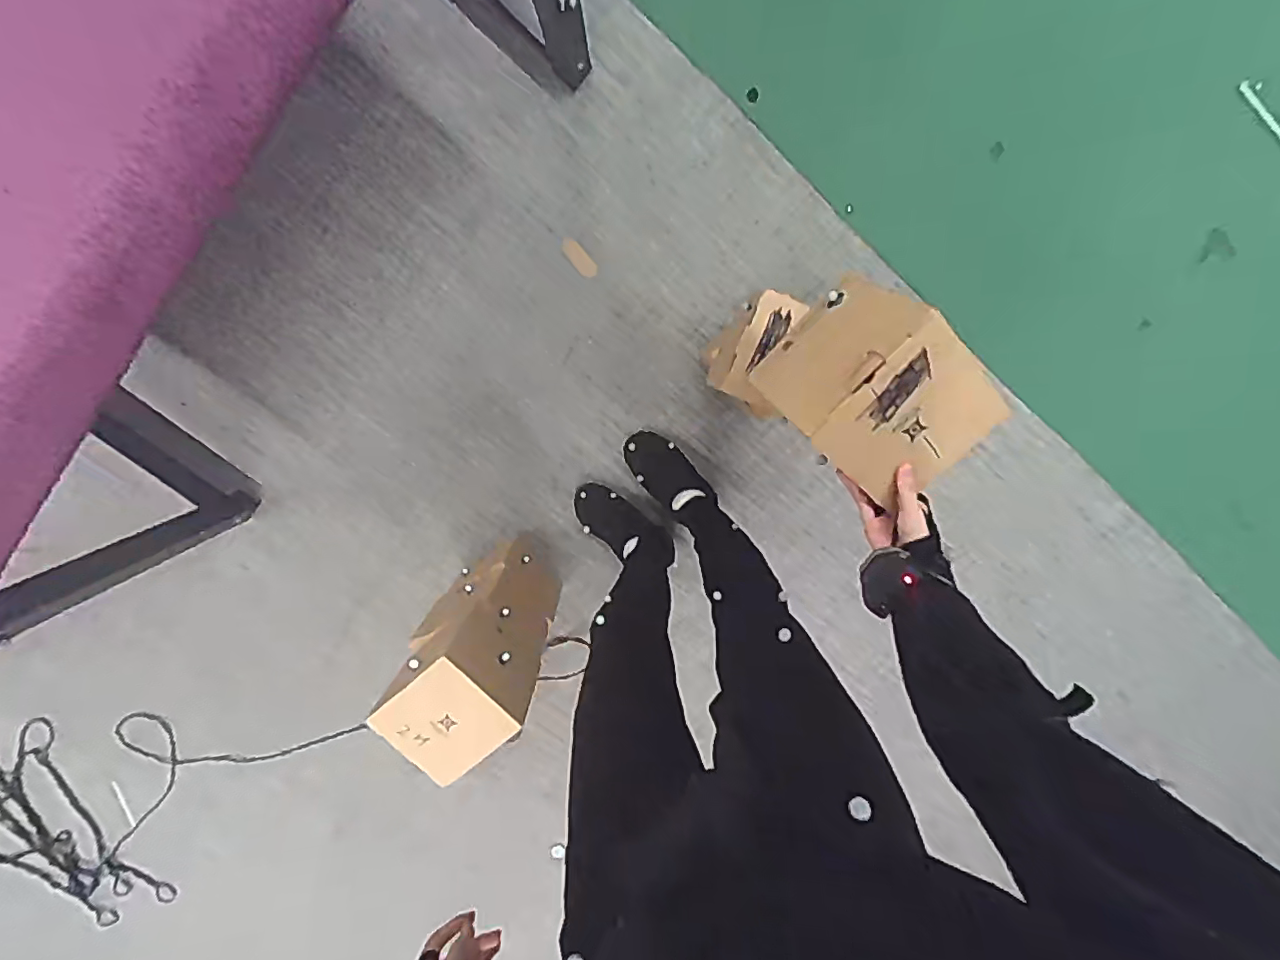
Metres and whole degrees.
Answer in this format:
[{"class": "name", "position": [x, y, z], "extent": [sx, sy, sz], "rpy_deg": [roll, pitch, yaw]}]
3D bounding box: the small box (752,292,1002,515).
[{"class": "small box", "position": [0.263, -0.098, 0.633], "extent": [0.179, 0.176, 0.168], "rpy_deg": [35, 108, -29]}]

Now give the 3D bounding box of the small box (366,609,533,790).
[{"class": "small box", "position": [-0.291, 0.343, 0.877], "extent": [0.179, 0.176, 0.168], "rpy_deg": [-39, 101, 10]}]

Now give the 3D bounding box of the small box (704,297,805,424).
[{"class": "small box", "position": [0.240, -0.236, 1.069], "extent": [0.179, 0.176, 0.168], "rpy_deg": [-38, 103, 9]}]

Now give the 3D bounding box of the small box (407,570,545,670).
[{"class": "small box", "position": [-0.301, 0.305, 1.038], "extent": [0.168, 0.176, 0.179], "rpy_deg": [-27, 103, 7]}]

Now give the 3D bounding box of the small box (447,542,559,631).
[{"class": "small box", "position": [-0.299, 0.256, 1.191], "extent": [0.168, 0.176, 0.179], "rpy_deg": [-32, 104, 8]}]
